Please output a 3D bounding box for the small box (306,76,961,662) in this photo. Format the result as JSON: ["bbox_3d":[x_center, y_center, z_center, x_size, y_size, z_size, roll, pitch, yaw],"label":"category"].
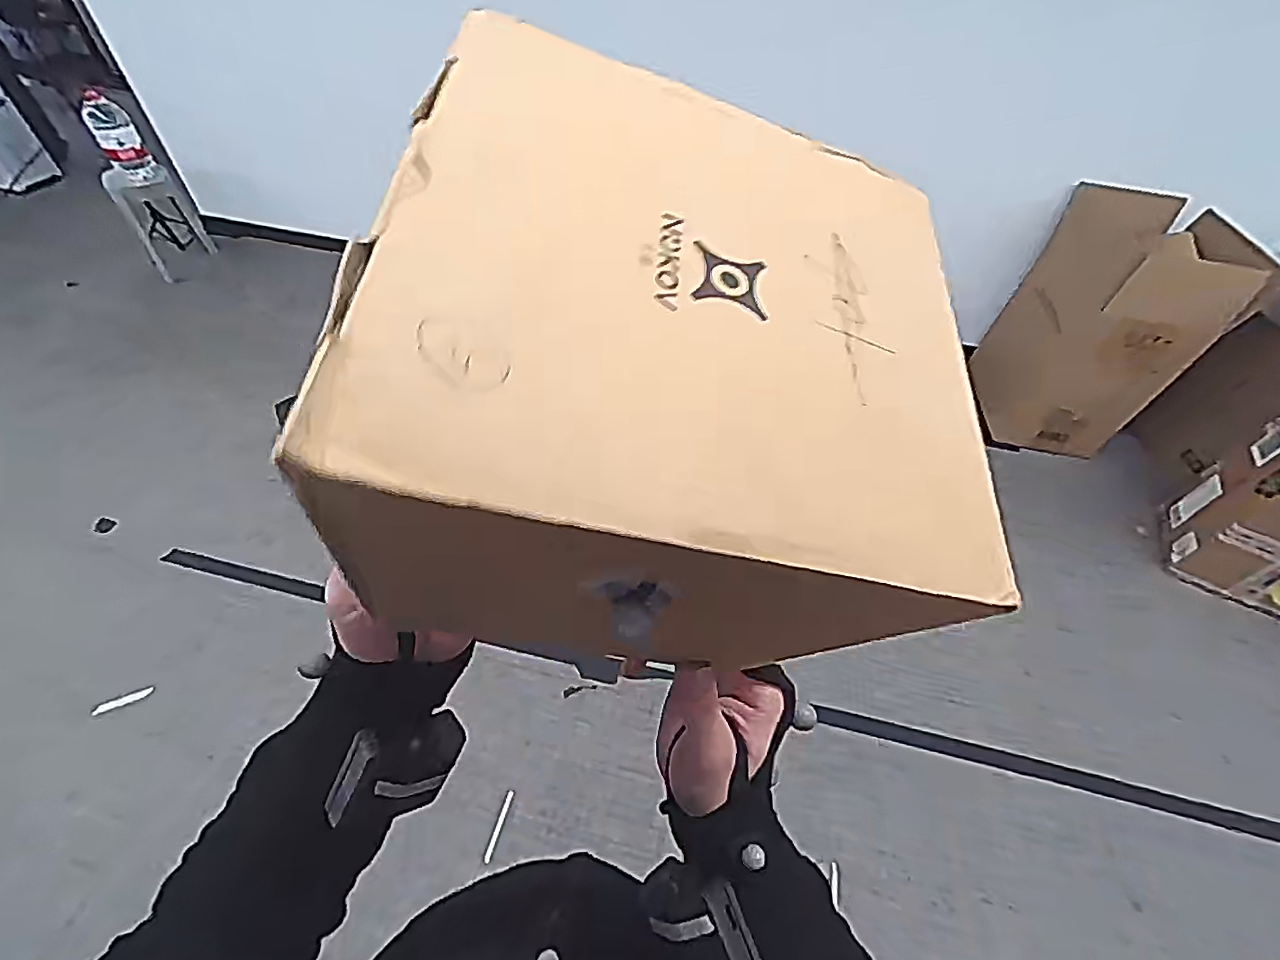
[{"bbox_3d":[-0.009,-0.019,0.239,0.179,0.176,0.168,11,63,-15],"label":"small box"}]
